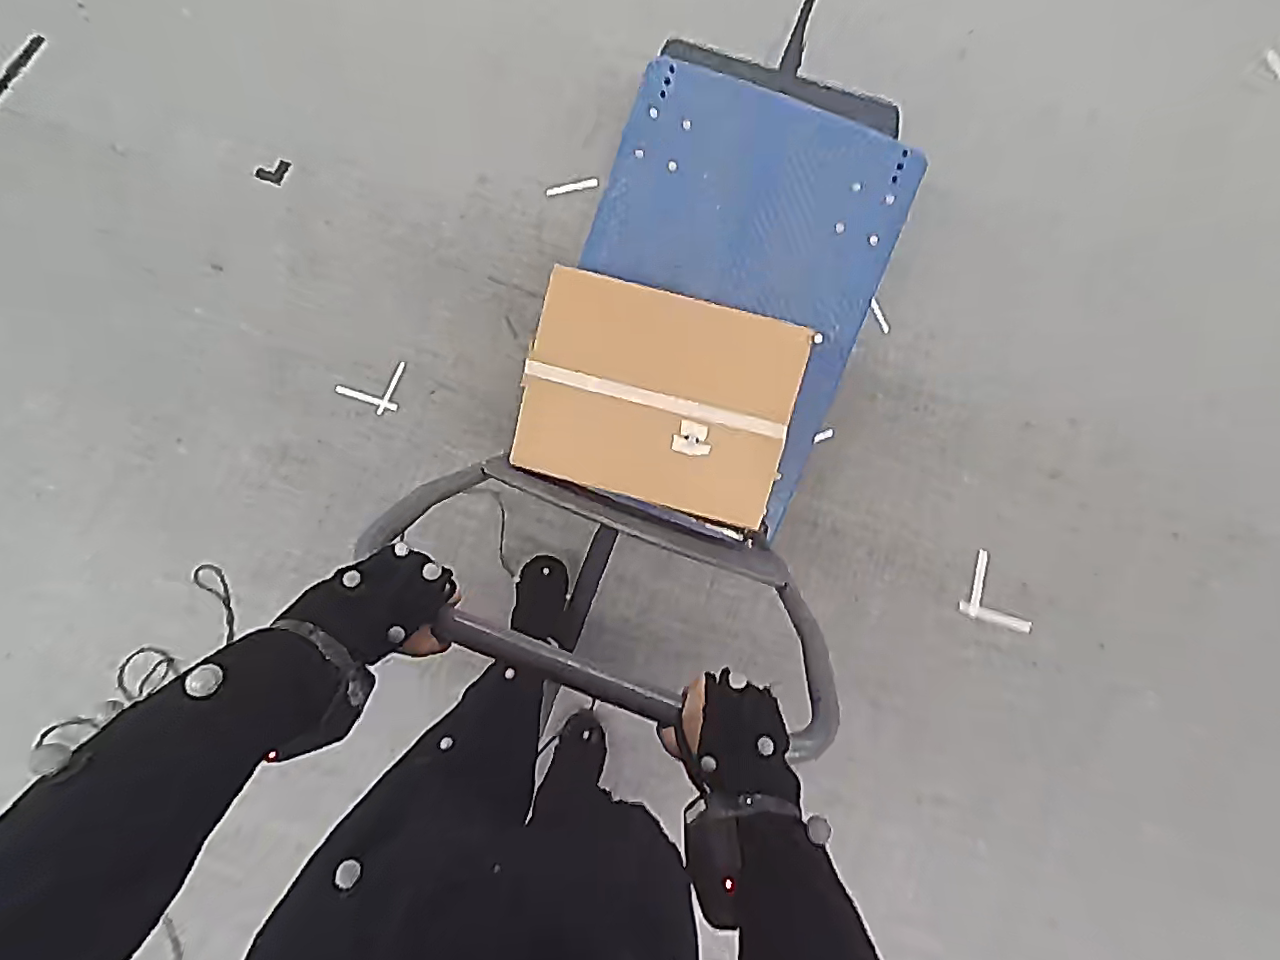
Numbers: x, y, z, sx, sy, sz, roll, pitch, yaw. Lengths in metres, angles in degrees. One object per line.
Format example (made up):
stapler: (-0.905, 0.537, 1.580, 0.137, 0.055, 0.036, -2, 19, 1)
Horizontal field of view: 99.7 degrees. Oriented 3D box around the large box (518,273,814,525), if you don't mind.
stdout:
large box: (0.037, -0.137, 0.974, 0.408, 0.320, 0.320, 14, 98, 0)
